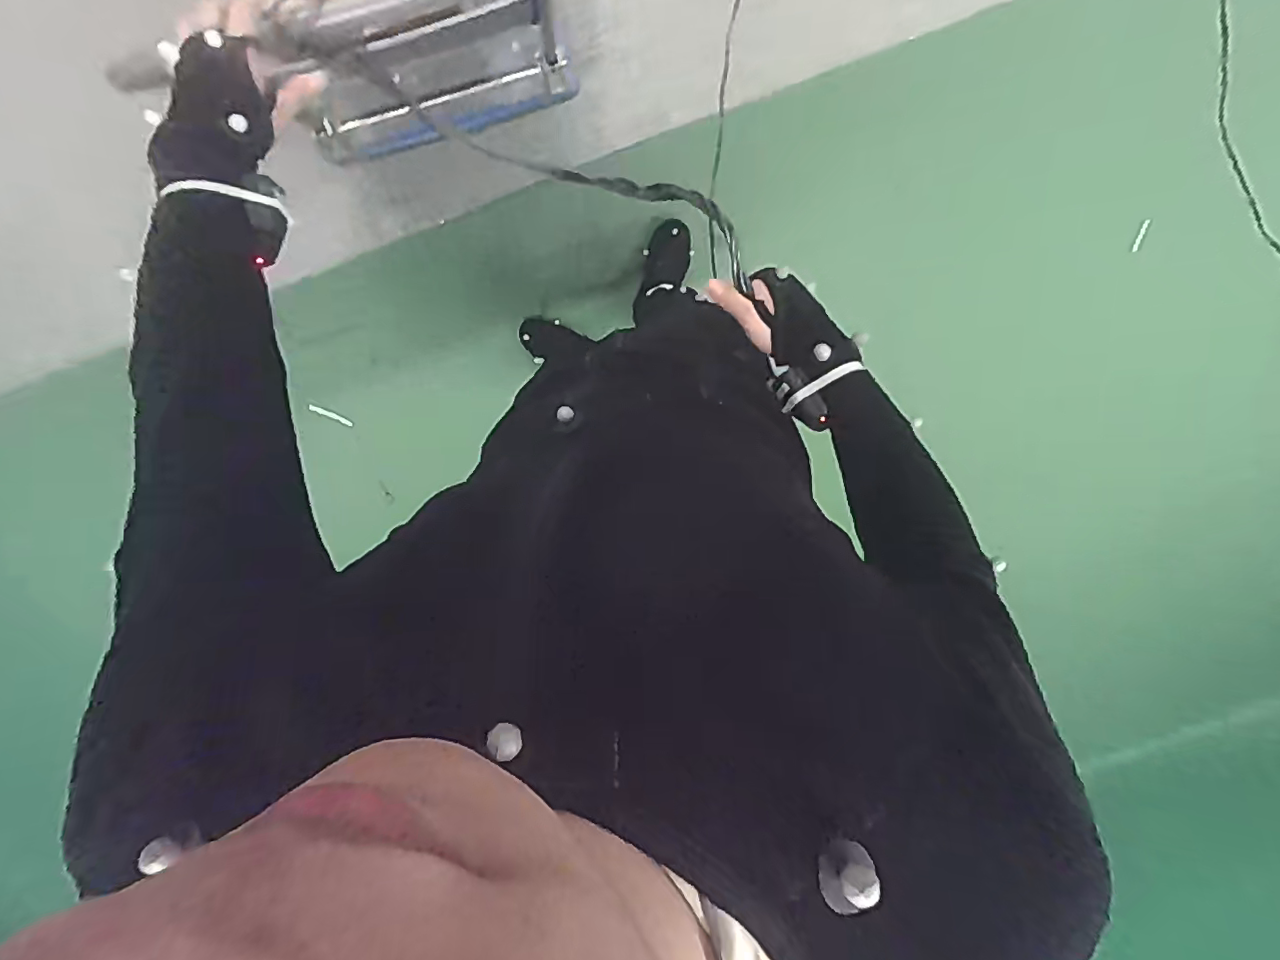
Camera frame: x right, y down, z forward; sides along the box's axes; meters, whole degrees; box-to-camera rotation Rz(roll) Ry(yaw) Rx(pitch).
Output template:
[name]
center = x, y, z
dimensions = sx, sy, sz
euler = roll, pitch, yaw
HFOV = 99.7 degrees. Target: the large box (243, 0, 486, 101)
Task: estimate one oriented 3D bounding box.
[large box]
center = -0.492, -0.930, 0.893
dimensions = 0.320, 0.320, 0.408
euler = -15, 114, 0
